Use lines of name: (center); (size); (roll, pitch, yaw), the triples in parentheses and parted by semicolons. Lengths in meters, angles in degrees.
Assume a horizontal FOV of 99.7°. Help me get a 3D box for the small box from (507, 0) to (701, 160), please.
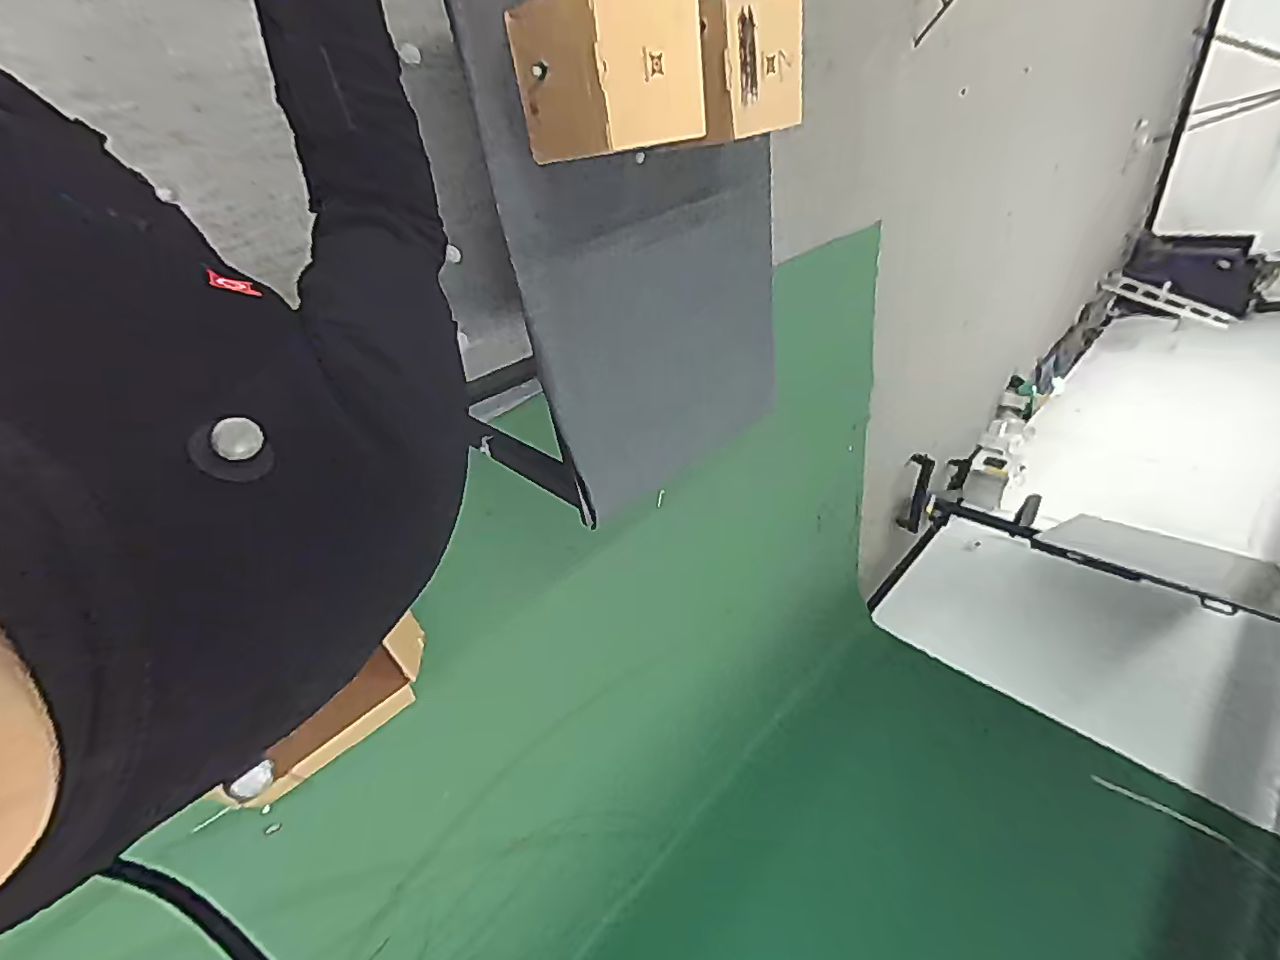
small box: (-0.043, -0.528, 0.707); (0.179, 0.176, 0.168); (-32, 129, -32)
